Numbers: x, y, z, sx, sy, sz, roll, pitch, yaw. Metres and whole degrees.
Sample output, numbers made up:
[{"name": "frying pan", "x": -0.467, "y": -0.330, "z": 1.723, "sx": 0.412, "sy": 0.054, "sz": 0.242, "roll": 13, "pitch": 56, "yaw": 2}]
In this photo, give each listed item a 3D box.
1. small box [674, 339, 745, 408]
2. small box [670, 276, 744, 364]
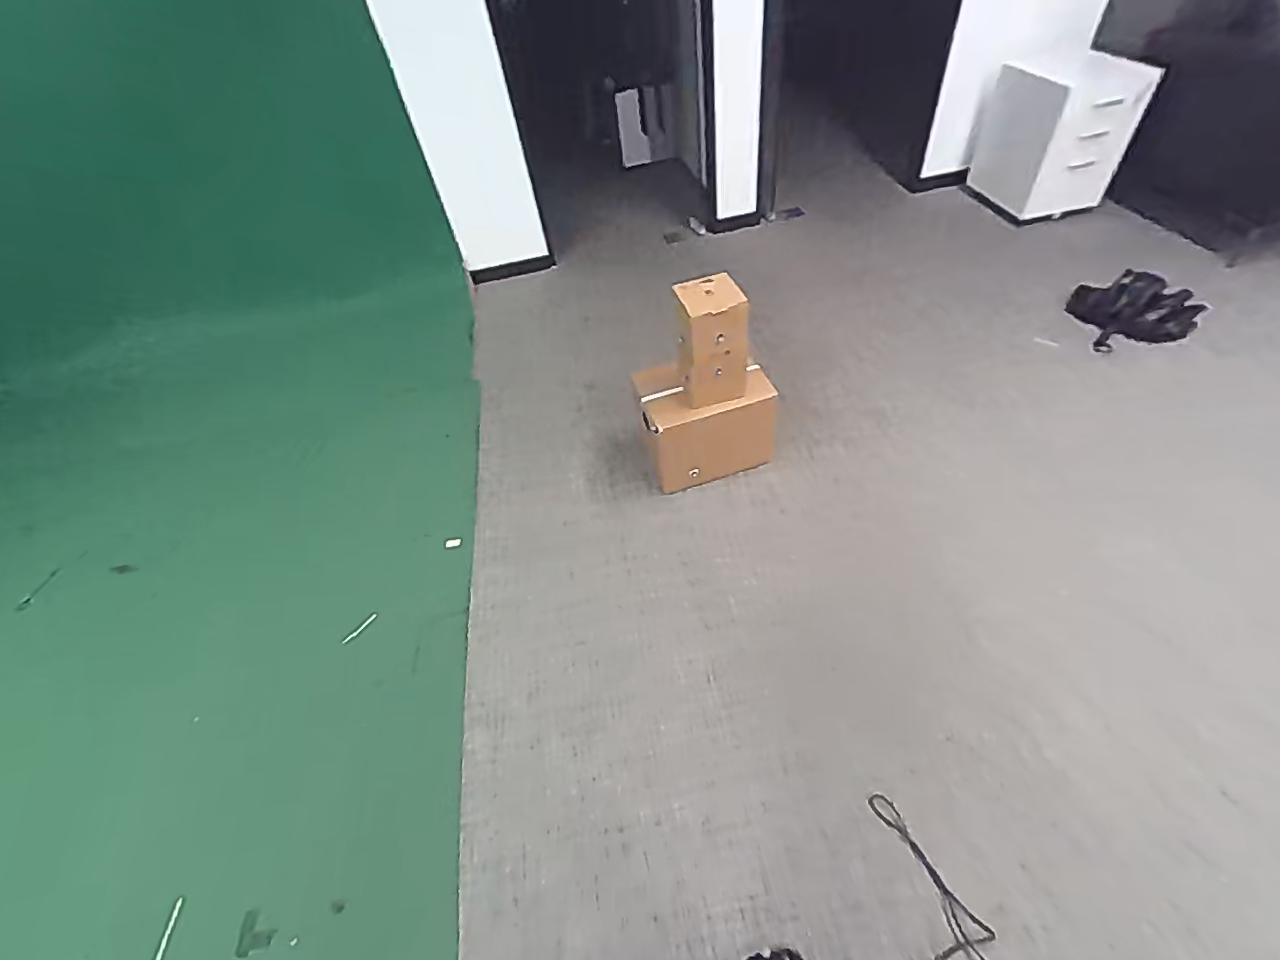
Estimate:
[{"name": "small box", "x": 0.215, "y": -0.345, "z": 1.681, "sx": 0.179, "sy": 0.176, "sz": 0.168, "roll": -14, "pitch": 49, "yaw": -5}, {"name": "small box", "x": 0.195, "y": -0.454, "z": 1.561, "sx": 0.168, "sy": 0.176, "sz": 0.179, "roll": -16, "pitch": 50, "yaw": -4}]
